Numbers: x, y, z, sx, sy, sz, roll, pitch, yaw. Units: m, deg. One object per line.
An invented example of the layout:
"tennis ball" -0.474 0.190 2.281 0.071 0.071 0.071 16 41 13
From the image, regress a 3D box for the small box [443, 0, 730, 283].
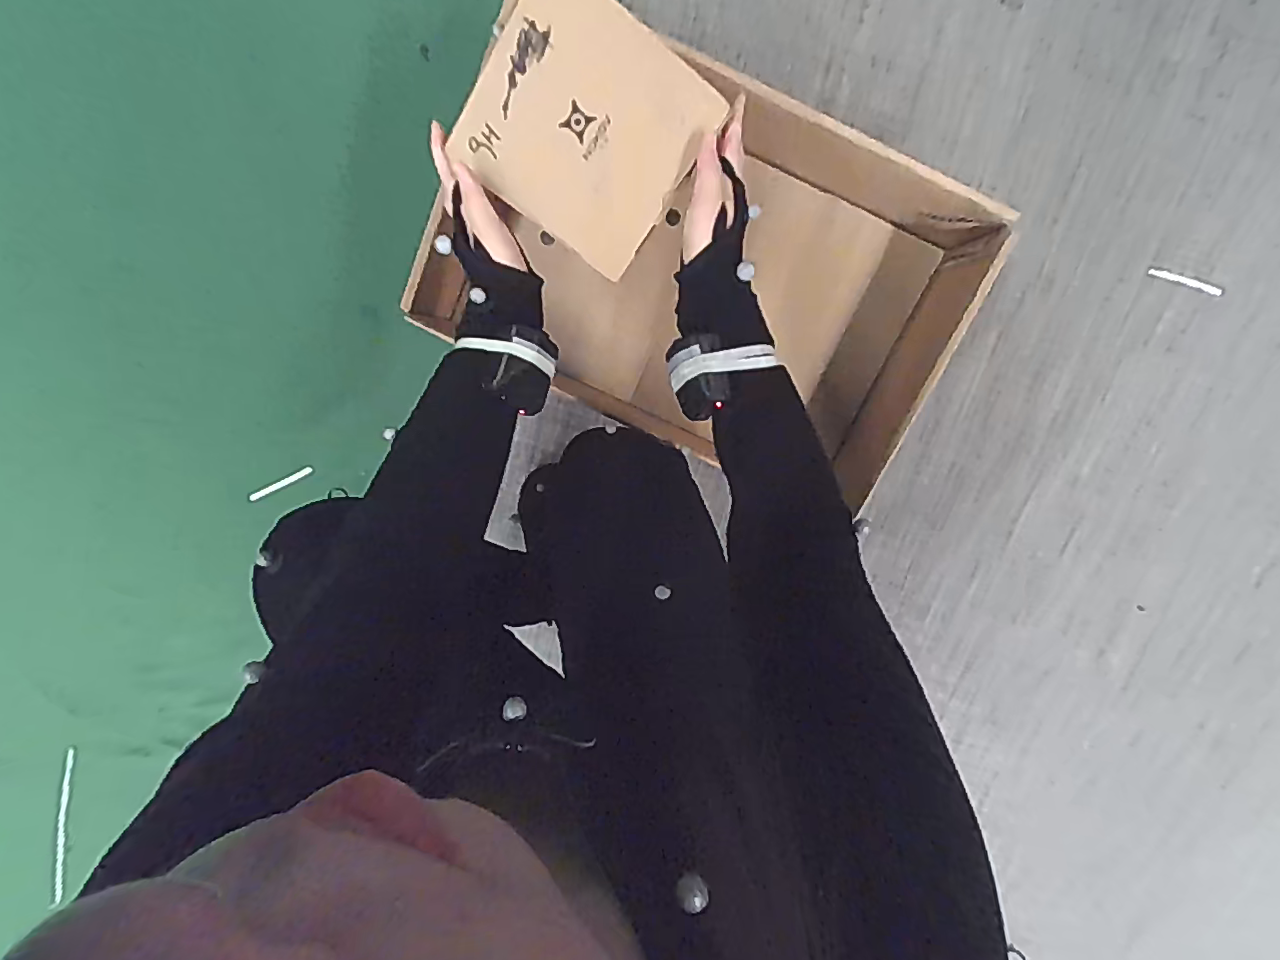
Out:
"small box" -0.042 -0.310 0.501 0.179 0.176 0.168 34 110 -12
